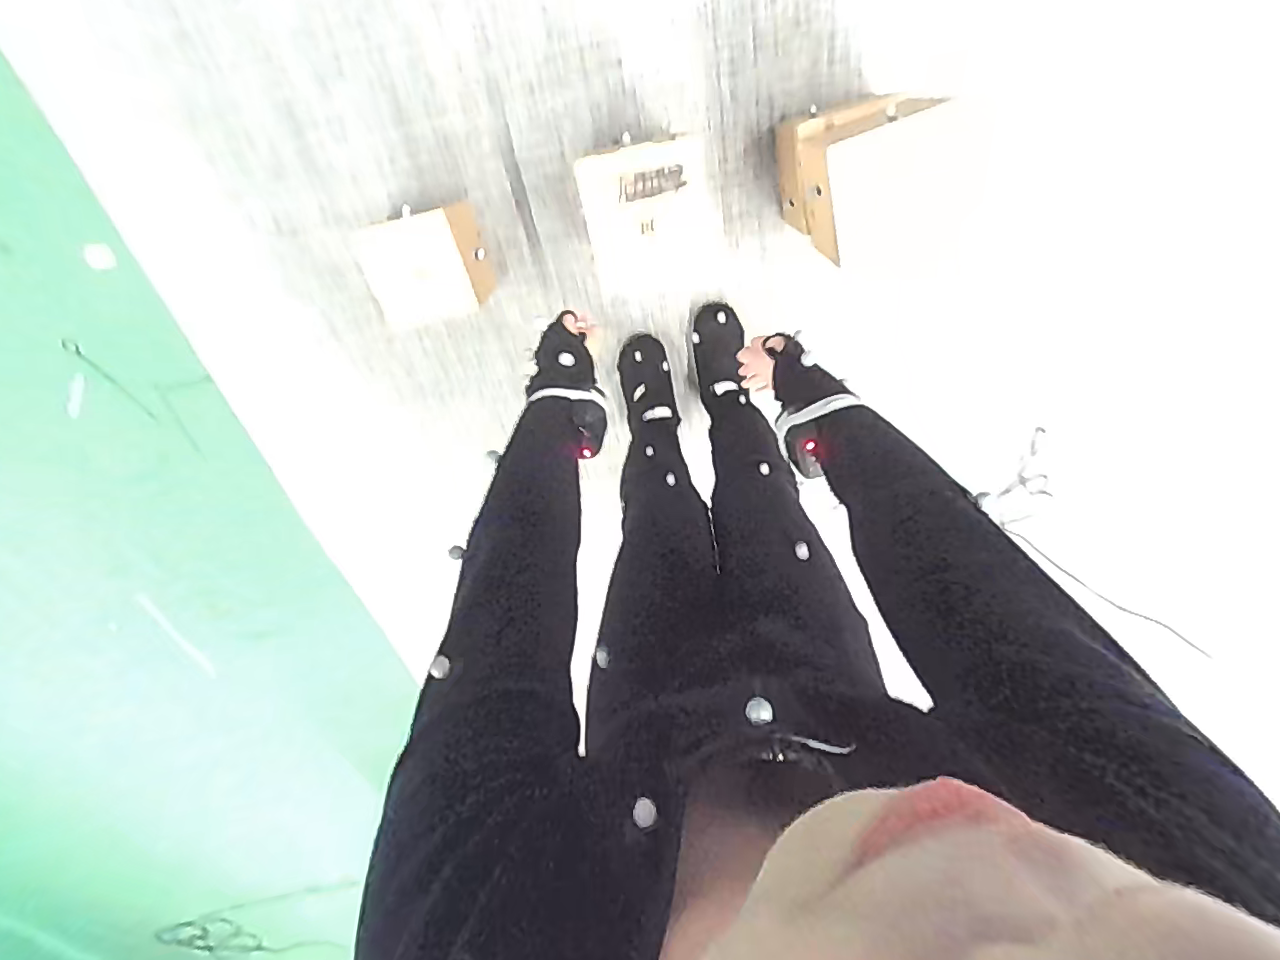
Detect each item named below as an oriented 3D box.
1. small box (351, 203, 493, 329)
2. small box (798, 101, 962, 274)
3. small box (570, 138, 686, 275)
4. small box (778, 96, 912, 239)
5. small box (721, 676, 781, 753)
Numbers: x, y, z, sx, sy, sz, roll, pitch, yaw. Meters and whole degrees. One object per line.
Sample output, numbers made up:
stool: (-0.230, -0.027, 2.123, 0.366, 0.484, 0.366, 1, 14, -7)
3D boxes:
small box: (-0.389, -0.404, 1.011, 0.179, 0.176, 0.168, -10, 123, 7)
small box: (0.340, -0.425, 0.789, 0.179, 0.176, 0.168, -16, 123, 11)
small box: (-0.013, -0.483, 0.951, 0.168, 0.176, 0.179, -9, 122, 7)
small box: (0.337, -0.527, 0.916, 0.179, 0.176, 0.168, -12, 123, 8)
small box: (0.364, 0.764, 1.781, 0.168, 0.176, 0.179, -9, 122, 7)
